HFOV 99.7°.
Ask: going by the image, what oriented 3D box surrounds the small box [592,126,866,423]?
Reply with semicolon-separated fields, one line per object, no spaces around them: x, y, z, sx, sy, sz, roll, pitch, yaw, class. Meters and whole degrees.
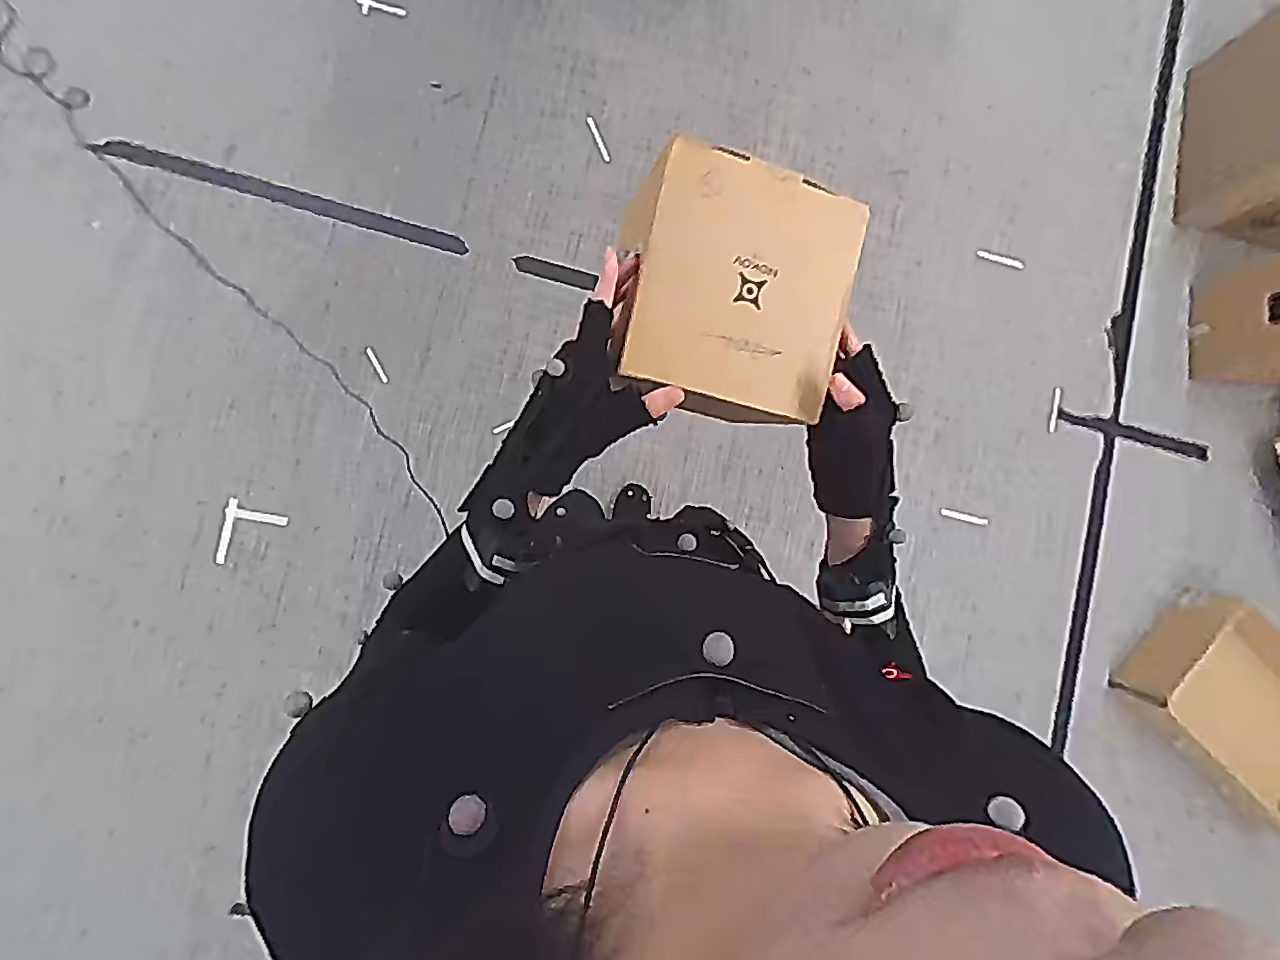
0.060;-0.153;0.474;0.168;0.176;0.179;12;92;-13;small box
